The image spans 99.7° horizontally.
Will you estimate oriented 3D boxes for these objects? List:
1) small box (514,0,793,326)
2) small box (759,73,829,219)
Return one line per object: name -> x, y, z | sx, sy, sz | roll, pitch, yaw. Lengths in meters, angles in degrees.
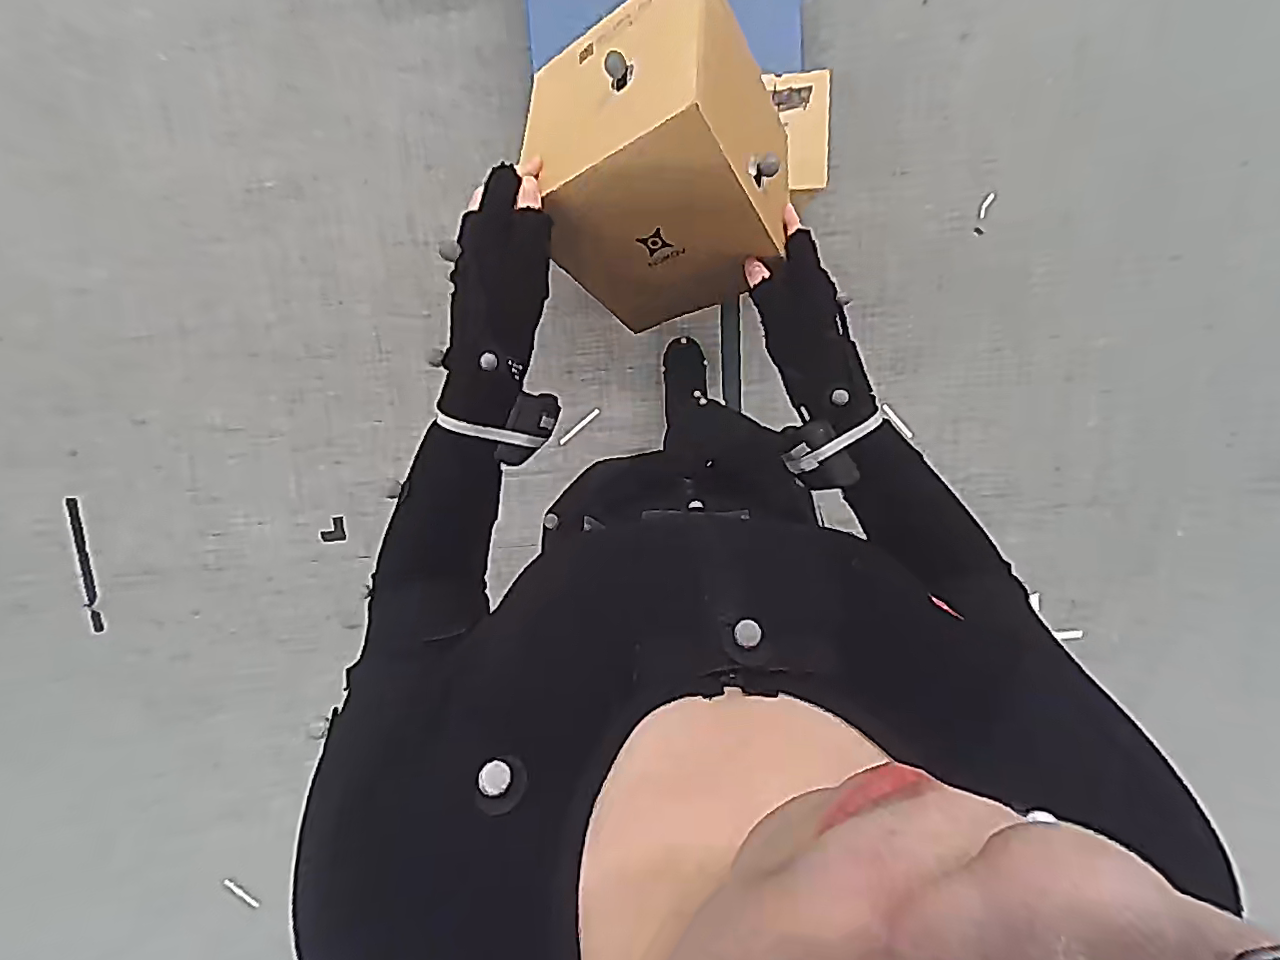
small box -> 0.019, -0.271, 0.464 | 0.168, 0.179, 0.176 | -11, 65, 33
small box -> 0.219, -0.573, 0.950 | 0.168, 0.176, 0.179 | -2, 101, -1
